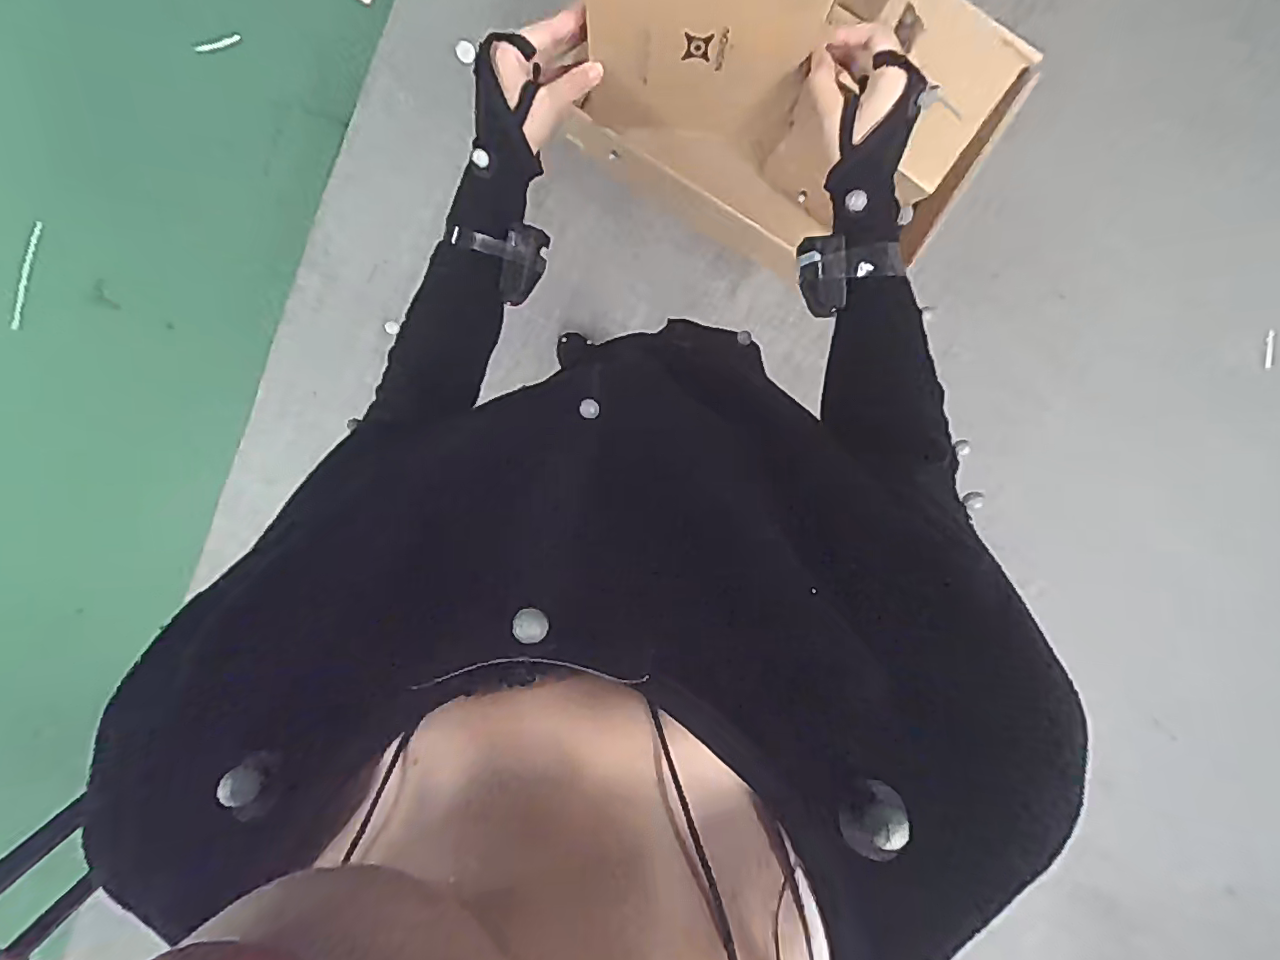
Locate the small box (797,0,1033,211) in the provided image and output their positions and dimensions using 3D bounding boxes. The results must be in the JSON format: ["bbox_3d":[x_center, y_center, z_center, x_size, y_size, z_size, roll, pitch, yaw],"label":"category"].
[{"bbox_3d":[0.330,-0.476,0.692,0.179,0.176,0.168,33,104,-6],"label":"small box"}]

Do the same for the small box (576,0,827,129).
[{"bbox_3d":[0.043,-0.407,0.409,0.179,0.168,0.176,2,80,-2],"label":"small box"}]

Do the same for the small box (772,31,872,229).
[{"bbox_3d":[0.327,-0.527,0.849,0.168,0.176,0.179,34,104,-6],"label":"small box"}]
